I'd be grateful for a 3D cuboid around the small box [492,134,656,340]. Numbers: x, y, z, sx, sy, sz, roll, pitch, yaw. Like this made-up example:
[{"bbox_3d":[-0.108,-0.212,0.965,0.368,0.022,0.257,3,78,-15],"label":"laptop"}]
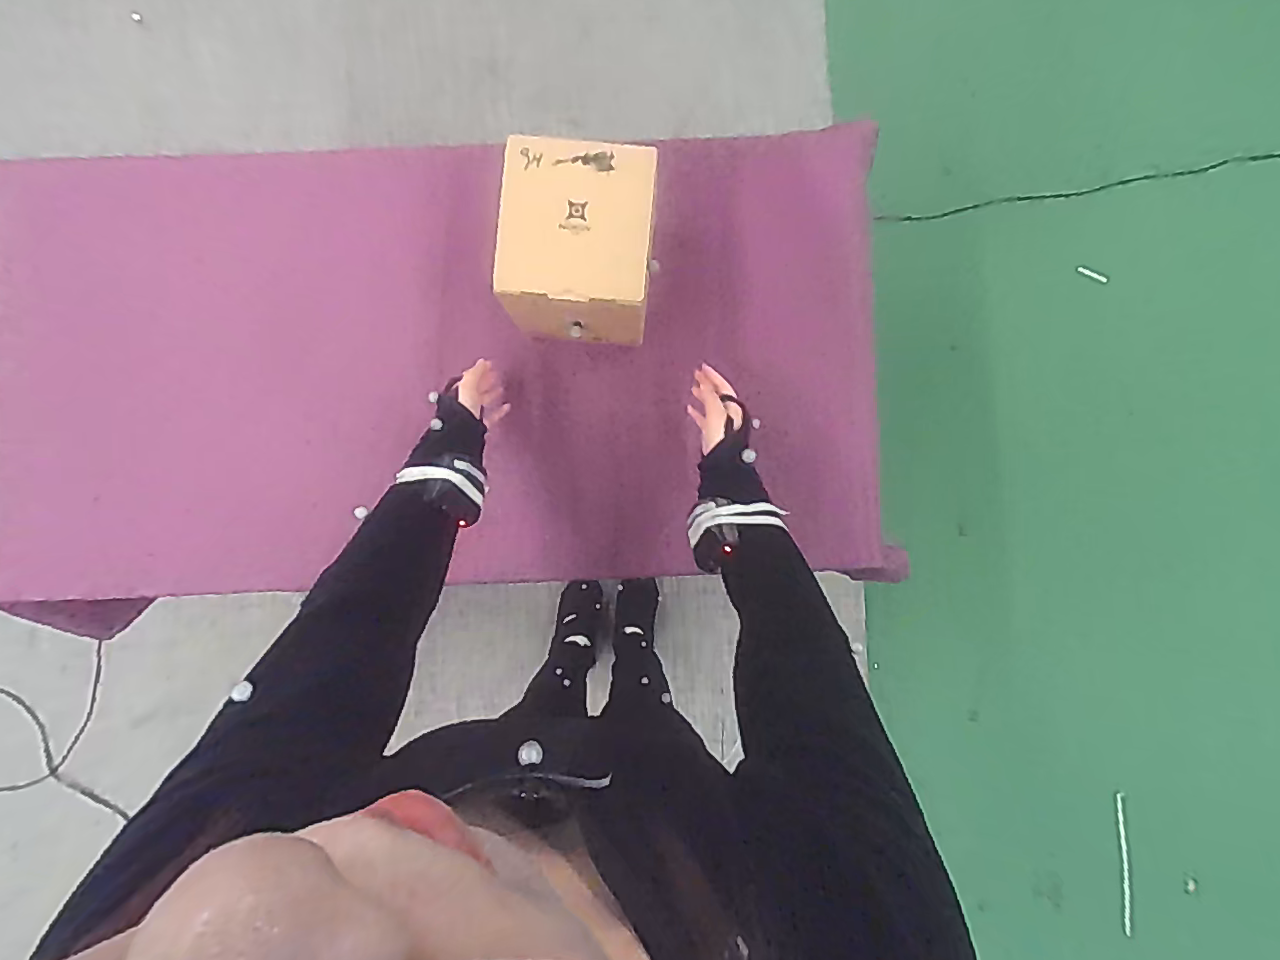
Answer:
[{"bbox_3d":[-0.070,-0.281,0.663,0.168,0.176,0.179,5,89,0],"label":"small box"}]
